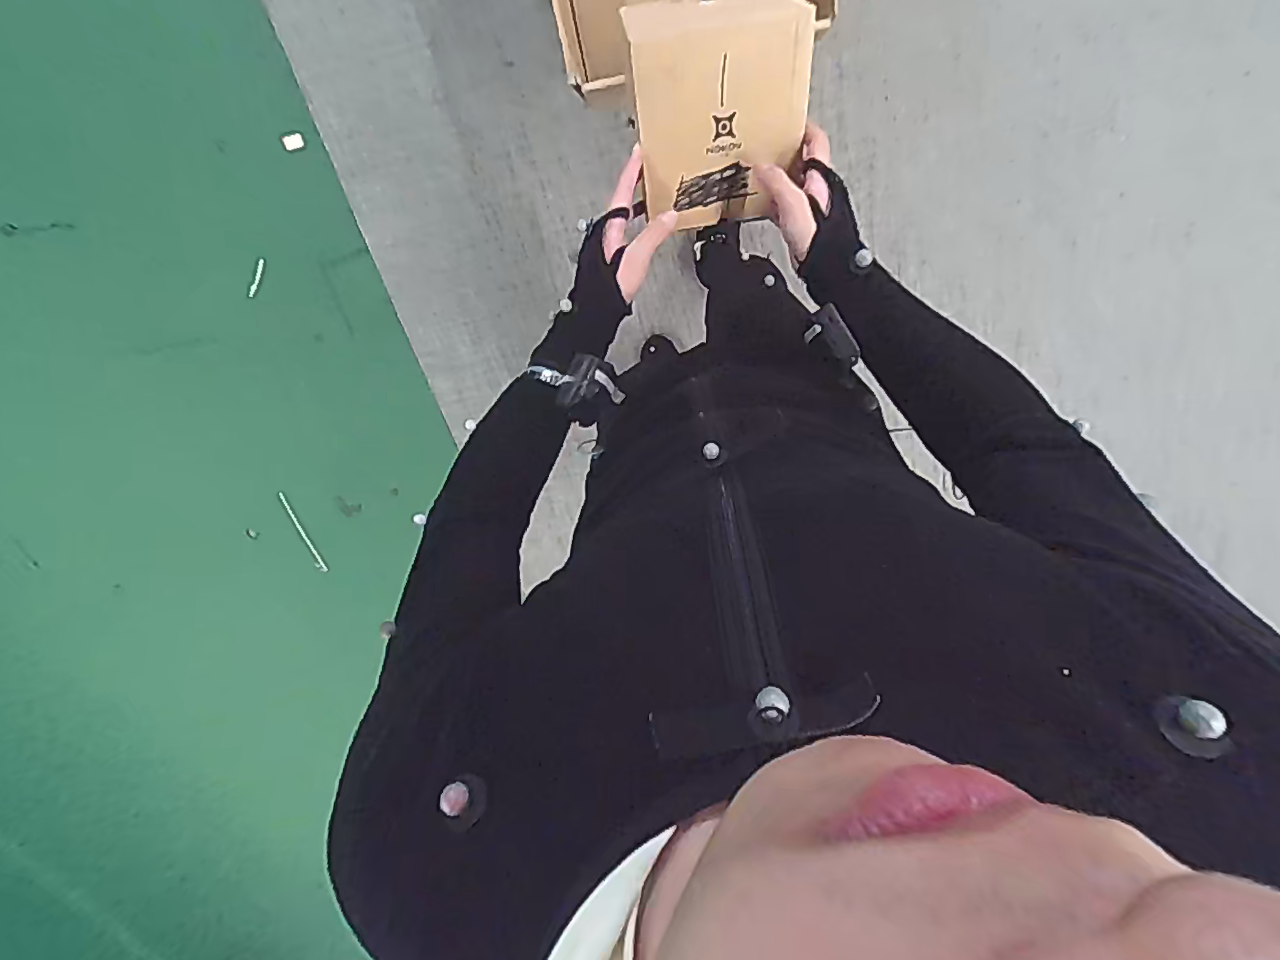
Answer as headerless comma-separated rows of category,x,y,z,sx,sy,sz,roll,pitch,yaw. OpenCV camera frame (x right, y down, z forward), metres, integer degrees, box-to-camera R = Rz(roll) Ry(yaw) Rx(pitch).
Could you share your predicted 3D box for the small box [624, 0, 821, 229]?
small box,0.077,-0.399,0.575,0.168,0.176,0.179,-8,138,2
